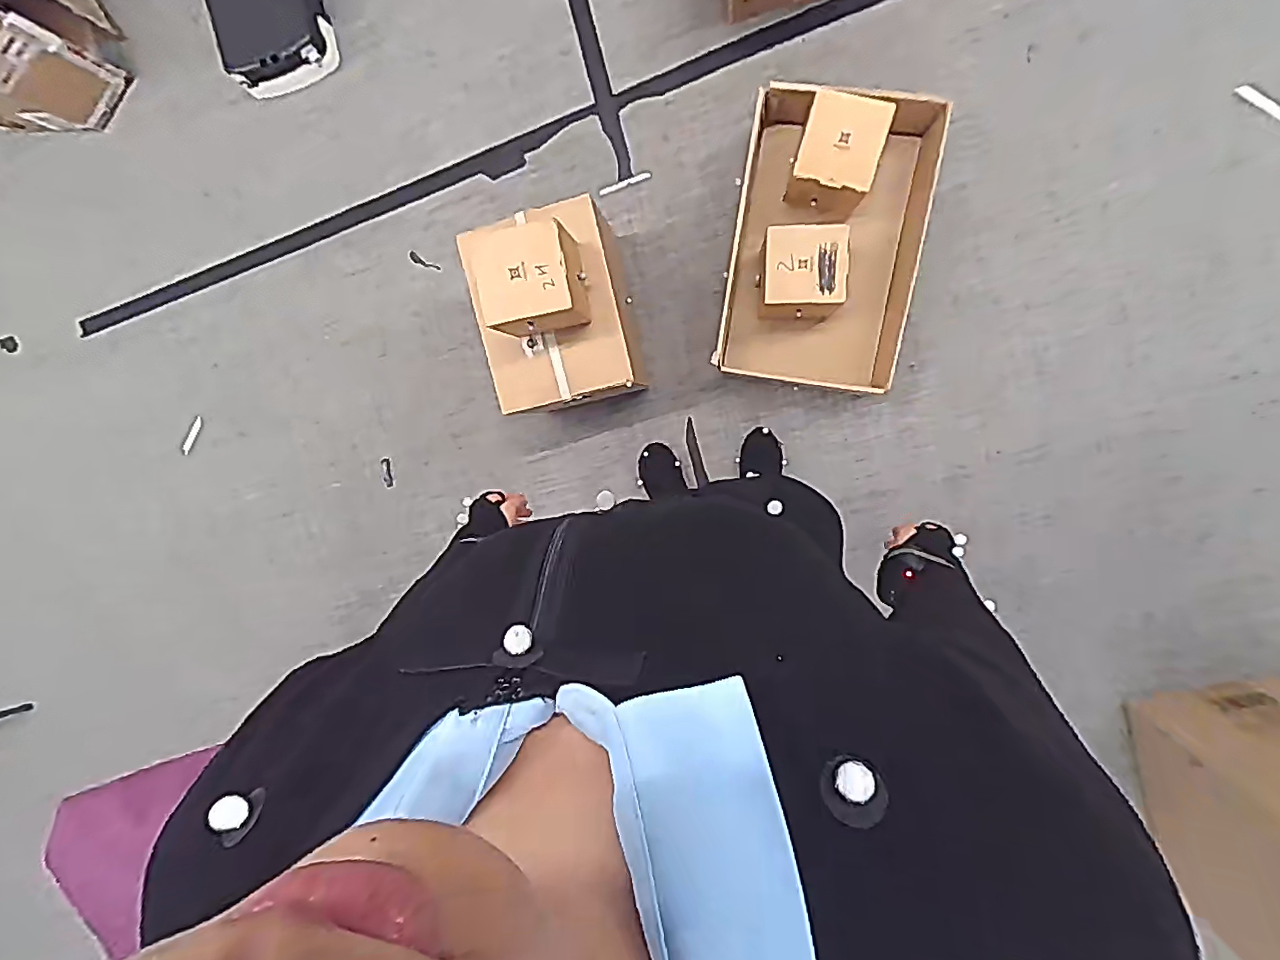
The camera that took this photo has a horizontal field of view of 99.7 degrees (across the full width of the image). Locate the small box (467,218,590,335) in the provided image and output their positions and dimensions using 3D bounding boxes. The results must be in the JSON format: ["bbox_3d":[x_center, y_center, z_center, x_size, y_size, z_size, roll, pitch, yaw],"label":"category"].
[{"bbox_3d":[-0.211,-0.389,1.066,0.179,0.176,0.168,-9,97,8],"label":"small box"}]

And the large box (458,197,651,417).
[{"bbox_3d":[-0.181,-0.389,1.314,0.320,0.320,0.408,-13,97,11],"label":"large box"}]
